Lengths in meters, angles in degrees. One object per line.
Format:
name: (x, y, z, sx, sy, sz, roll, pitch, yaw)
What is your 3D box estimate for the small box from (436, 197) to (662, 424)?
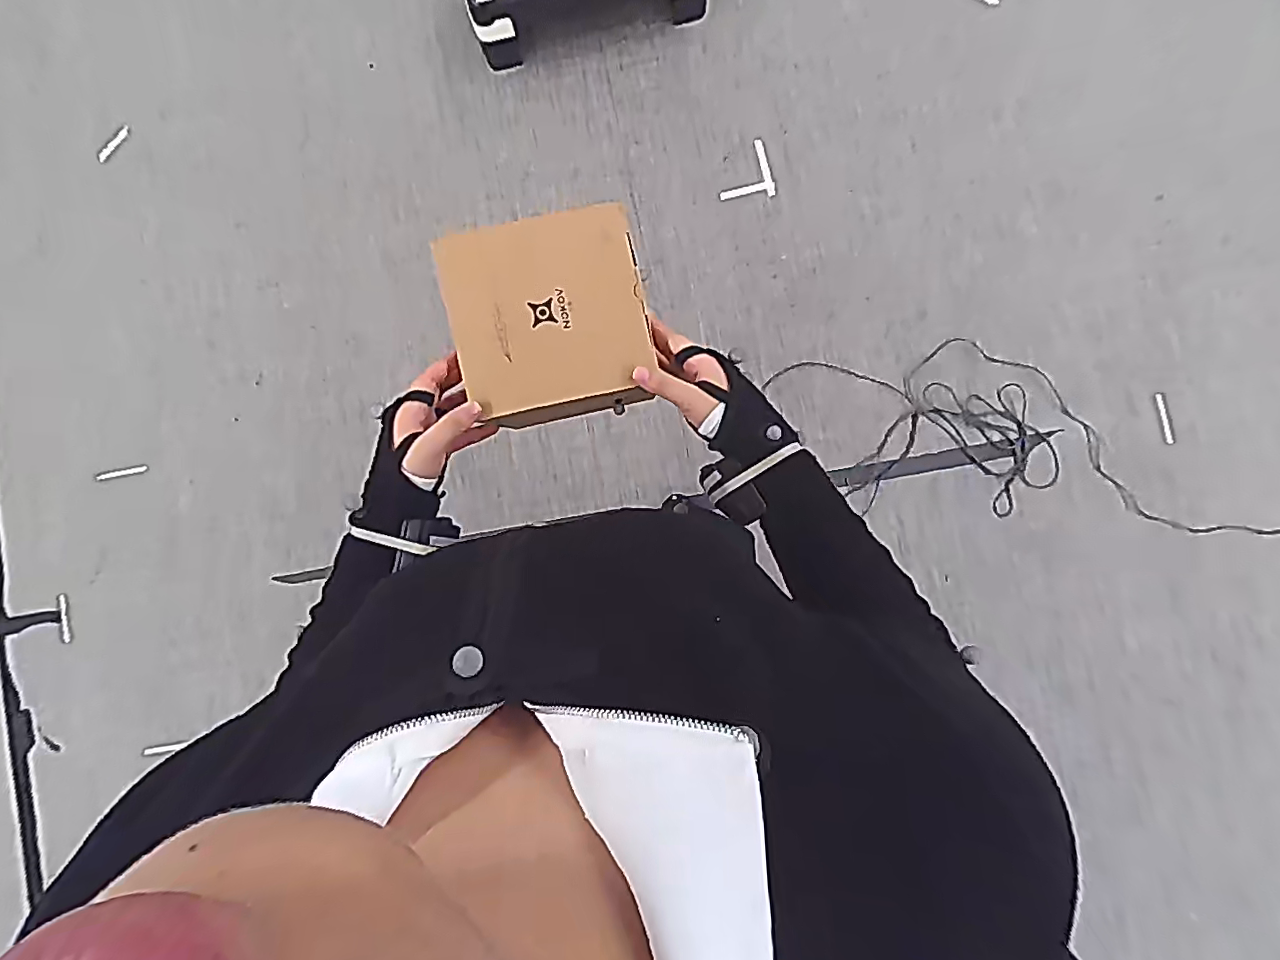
small box: (-0.082, -0.159, 0.564, 0.179, 0.176, 0.168, -13, 92, 1)
